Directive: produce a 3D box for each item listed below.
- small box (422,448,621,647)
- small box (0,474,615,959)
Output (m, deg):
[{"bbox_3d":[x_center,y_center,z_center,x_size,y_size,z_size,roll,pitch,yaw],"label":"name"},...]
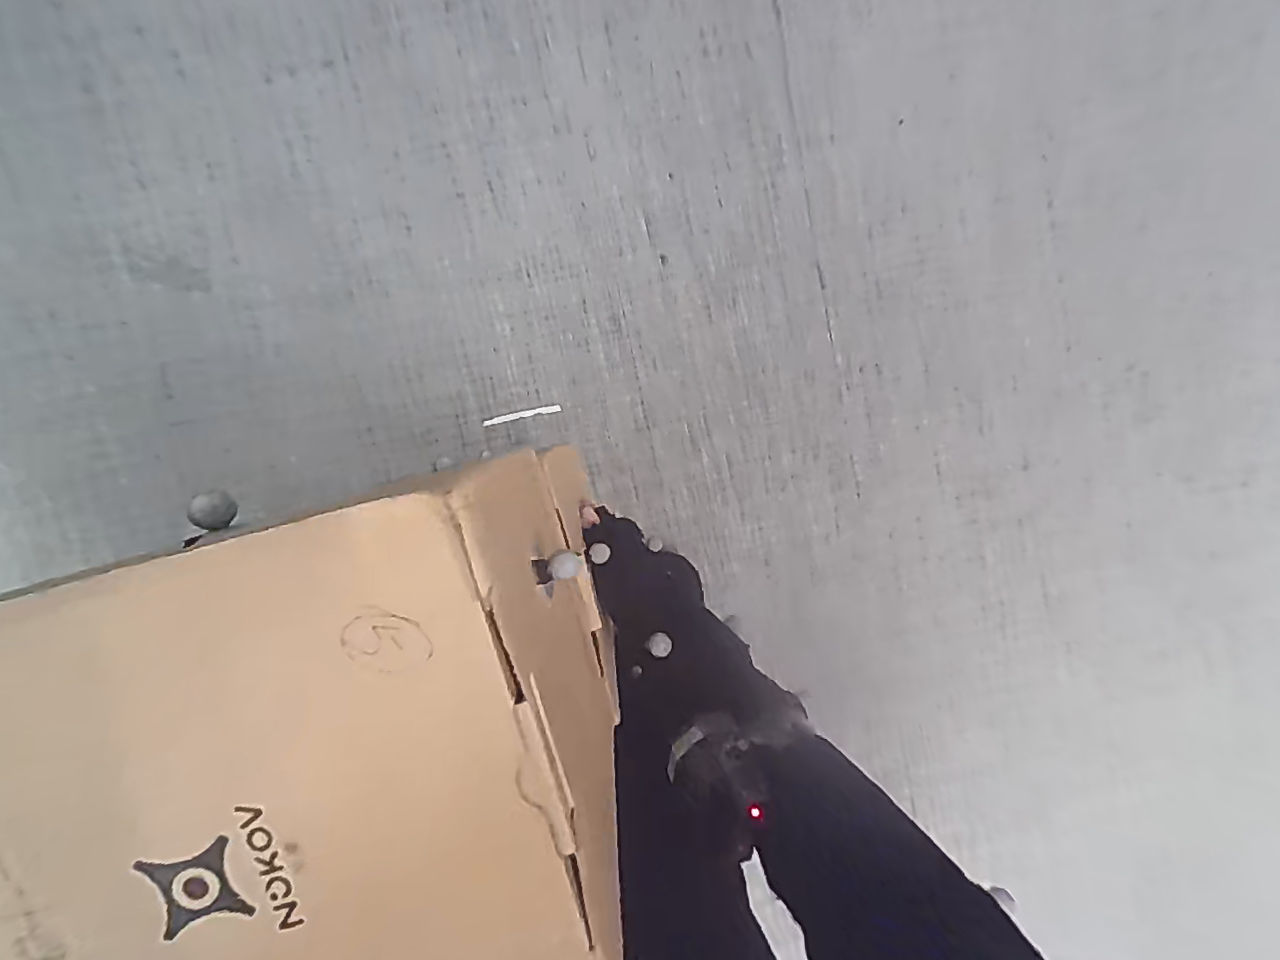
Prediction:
[{"bbox_3d":[-0.129,0.071,0.538,0.179,0.176,0.168,-17,99,-2],"label":"small box"},{"bbox_3d":[-0.114,0.102,0.214,0.179,0.176,0.168,-16,97,-1],"label":"small box"}]
